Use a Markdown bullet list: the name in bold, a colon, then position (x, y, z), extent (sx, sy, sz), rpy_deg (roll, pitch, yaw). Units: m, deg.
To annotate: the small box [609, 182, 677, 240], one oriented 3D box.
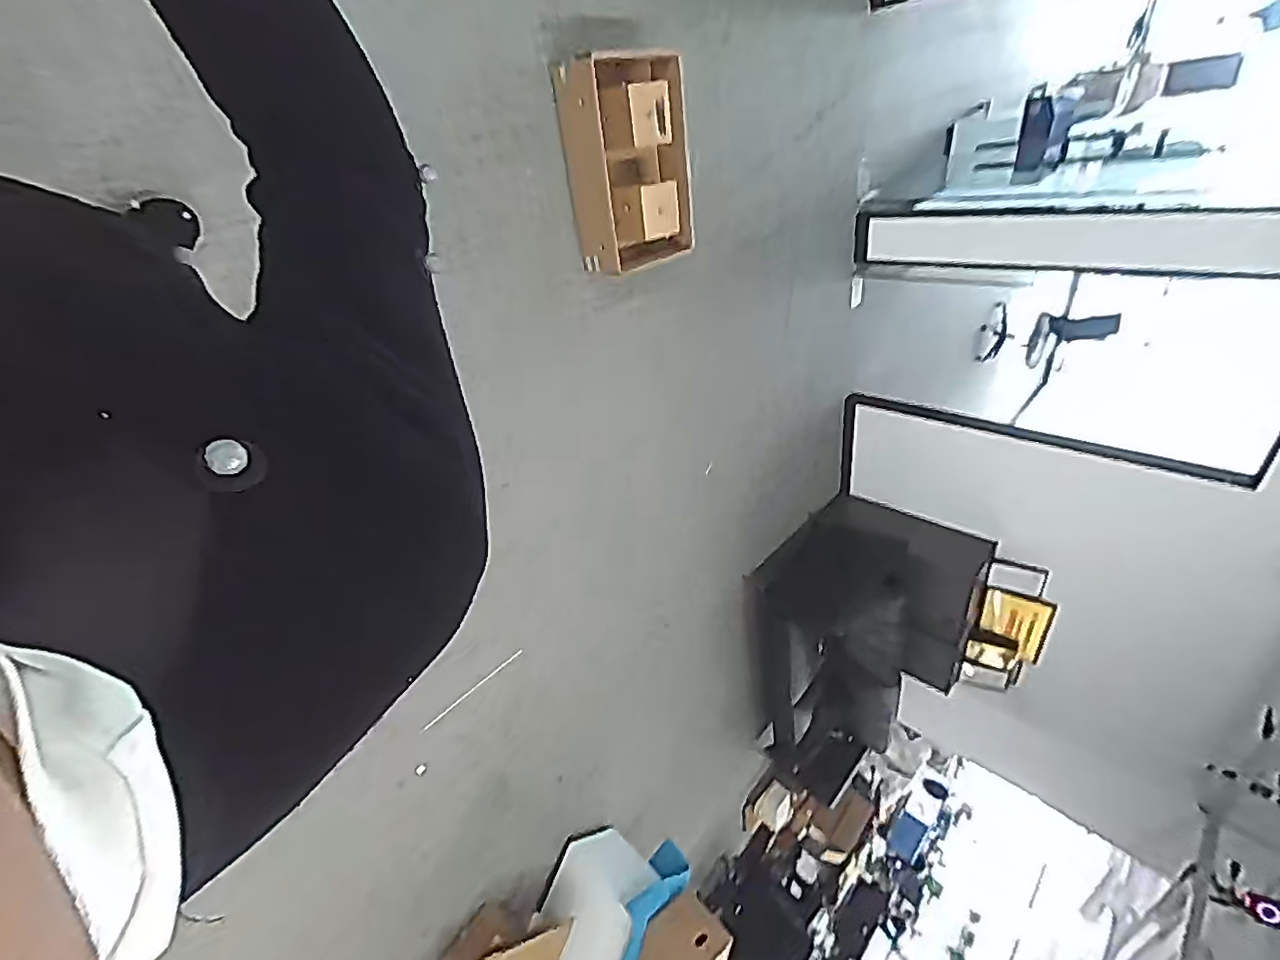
- **small box**: position (0.006, -0.948, 1.909), extent (0.179, 0.176, 0.168), rpy_deg (-31, 128, -34)
